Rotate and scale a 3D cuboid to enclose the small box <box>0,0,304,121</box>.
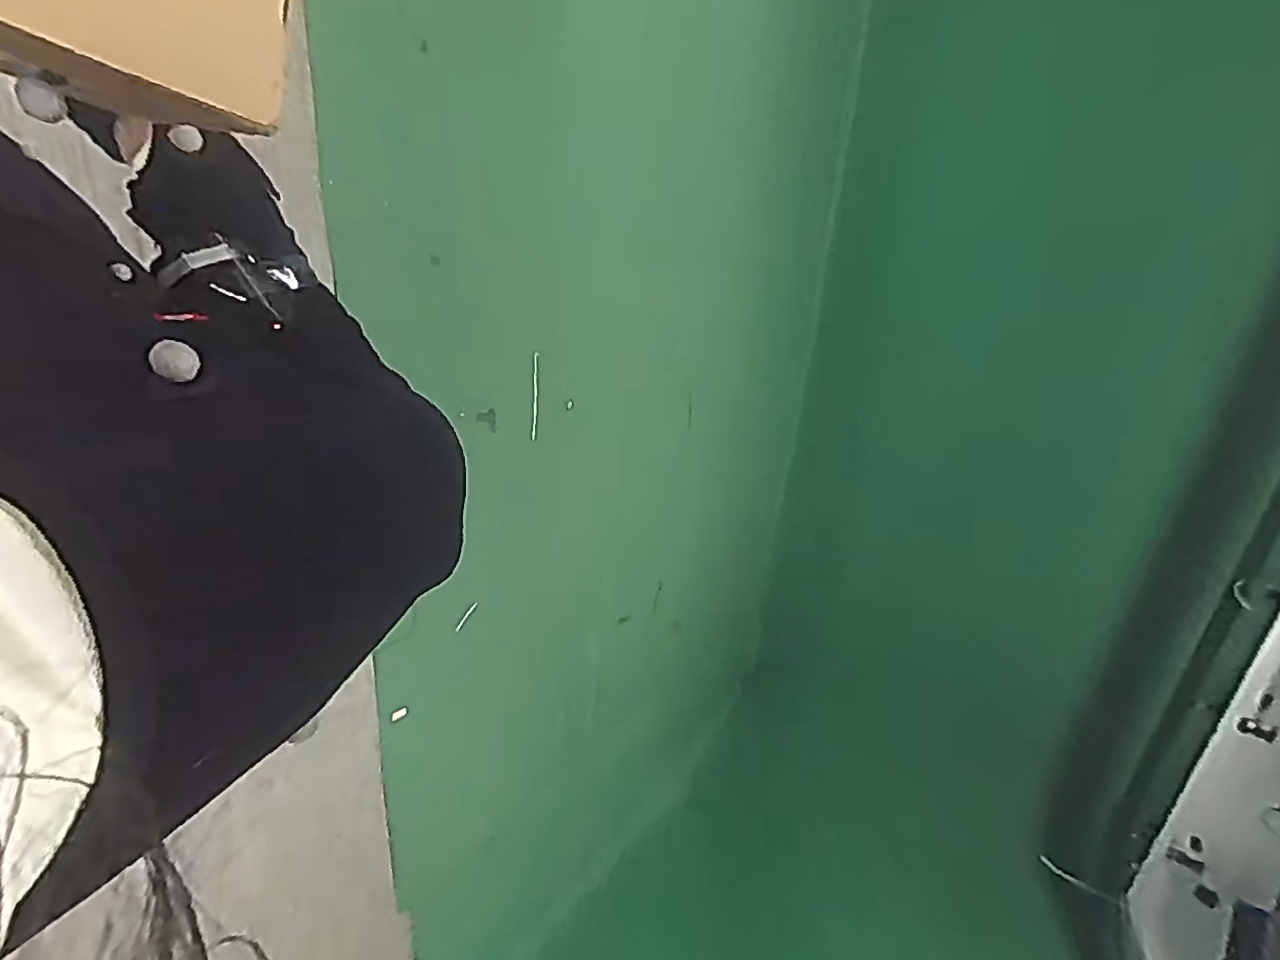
[{"bbox_3d":[-0.208,-0.217,0.130,0.179,0.176,0.168,-10,118,-54],"label":"small box"}]
